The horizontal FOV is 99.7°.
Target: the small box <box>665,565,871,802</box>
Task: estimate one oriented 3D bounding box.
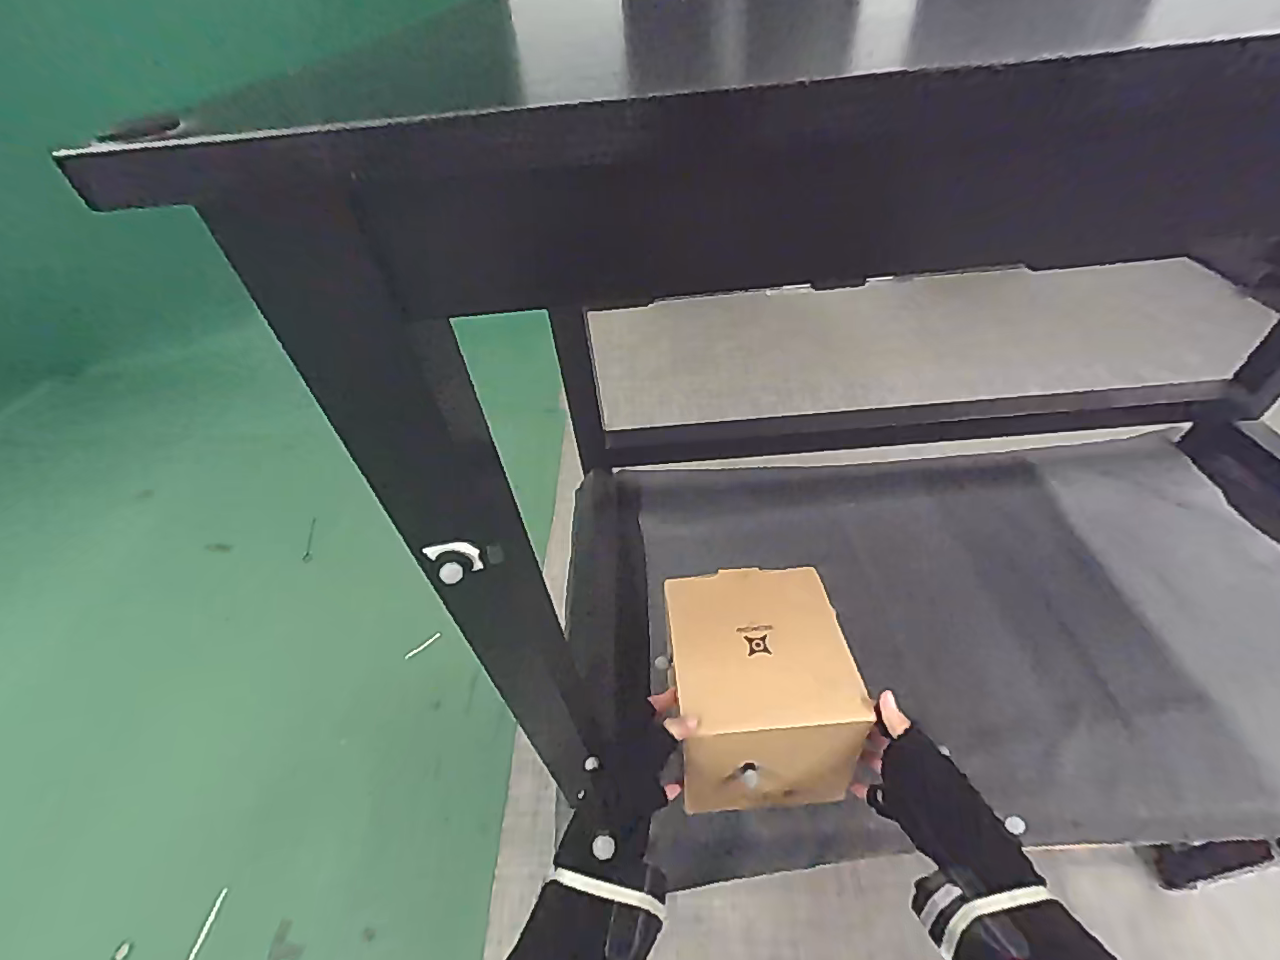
[{"bbox_3d":[0.117,0.215,0.566,0.168,0.176,0.179,-5,38,0],"label":"small box"}]
